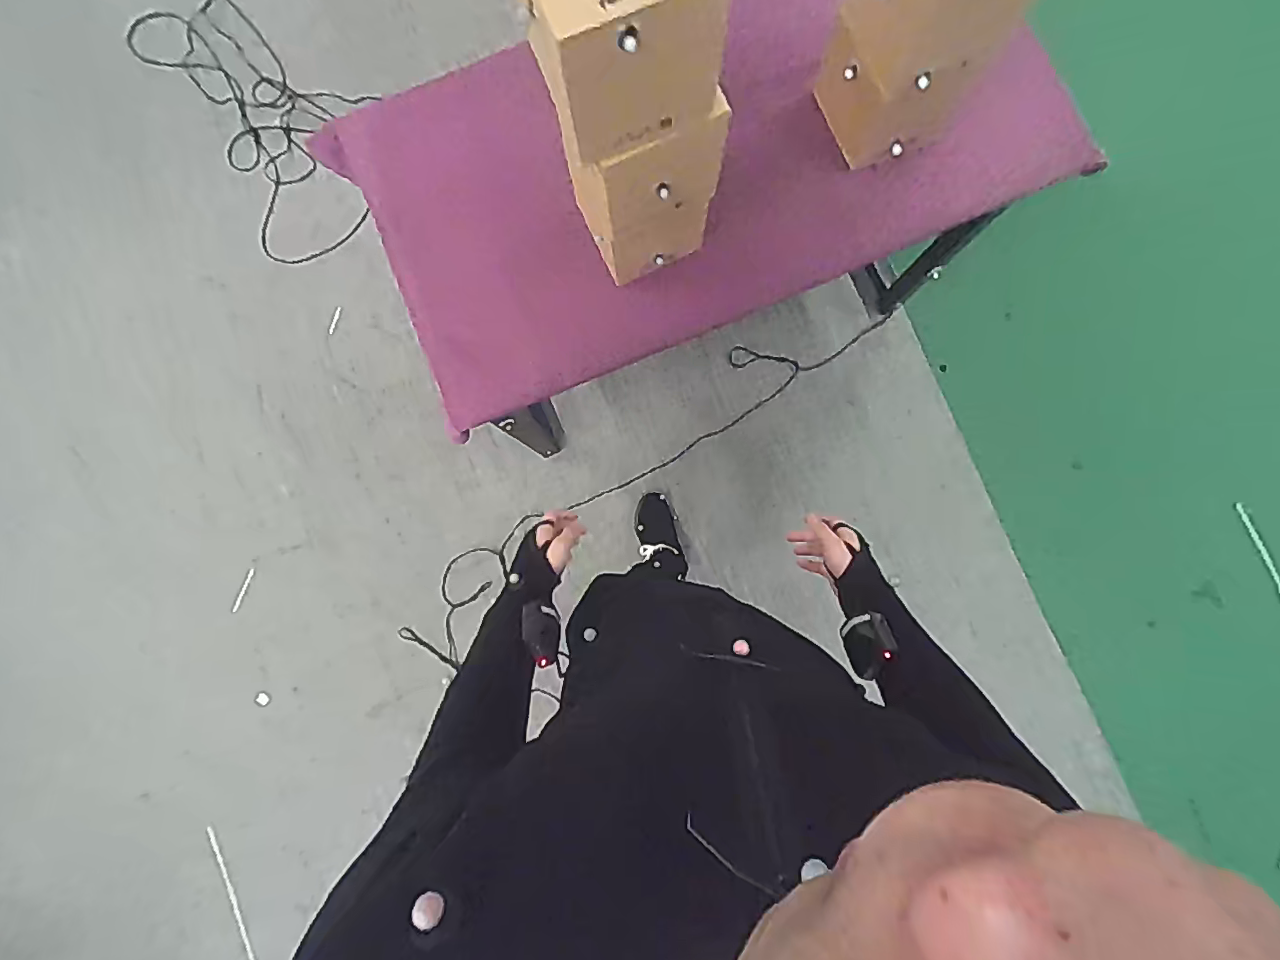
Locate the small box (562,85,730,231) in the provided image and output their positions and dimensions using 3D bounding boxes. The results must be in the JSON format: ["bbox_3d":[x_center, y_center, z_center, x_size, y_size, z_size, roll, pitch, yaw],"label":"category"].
[{"bbox_3d":[0.000,-0.457,0.705,0.168,0.176,0.179,-25,84,-1],"label":"small box"}]

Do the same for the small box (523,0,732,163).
[{"bbox_3d":[-0.023,-0.469,0.542,0.168,0.176,0.179,-22,84,0],"label":"small box"}]

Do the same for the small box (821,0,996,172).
[{"bbox_3d":[0.416,-0.649,0.873,0.168,0.176,0.179,-21,84,1],"label":"small box"}]
